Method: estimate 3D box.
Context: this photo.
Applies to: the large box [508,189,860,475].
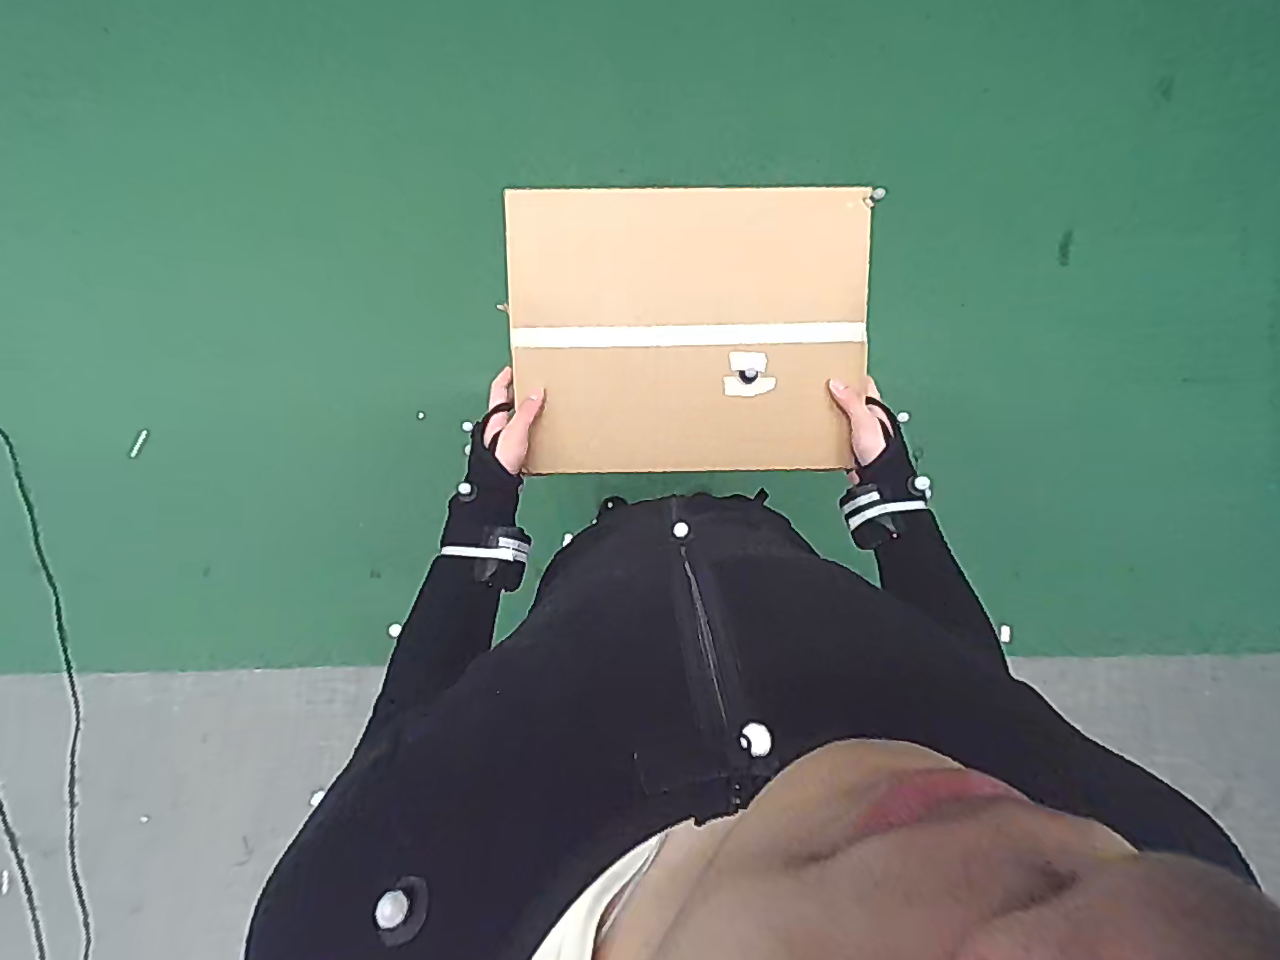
[{"bbox_3d":[0.050,-0.187,0.771,0.408,0.320,0.320,-2,99,-2],"label":"large box"}]
